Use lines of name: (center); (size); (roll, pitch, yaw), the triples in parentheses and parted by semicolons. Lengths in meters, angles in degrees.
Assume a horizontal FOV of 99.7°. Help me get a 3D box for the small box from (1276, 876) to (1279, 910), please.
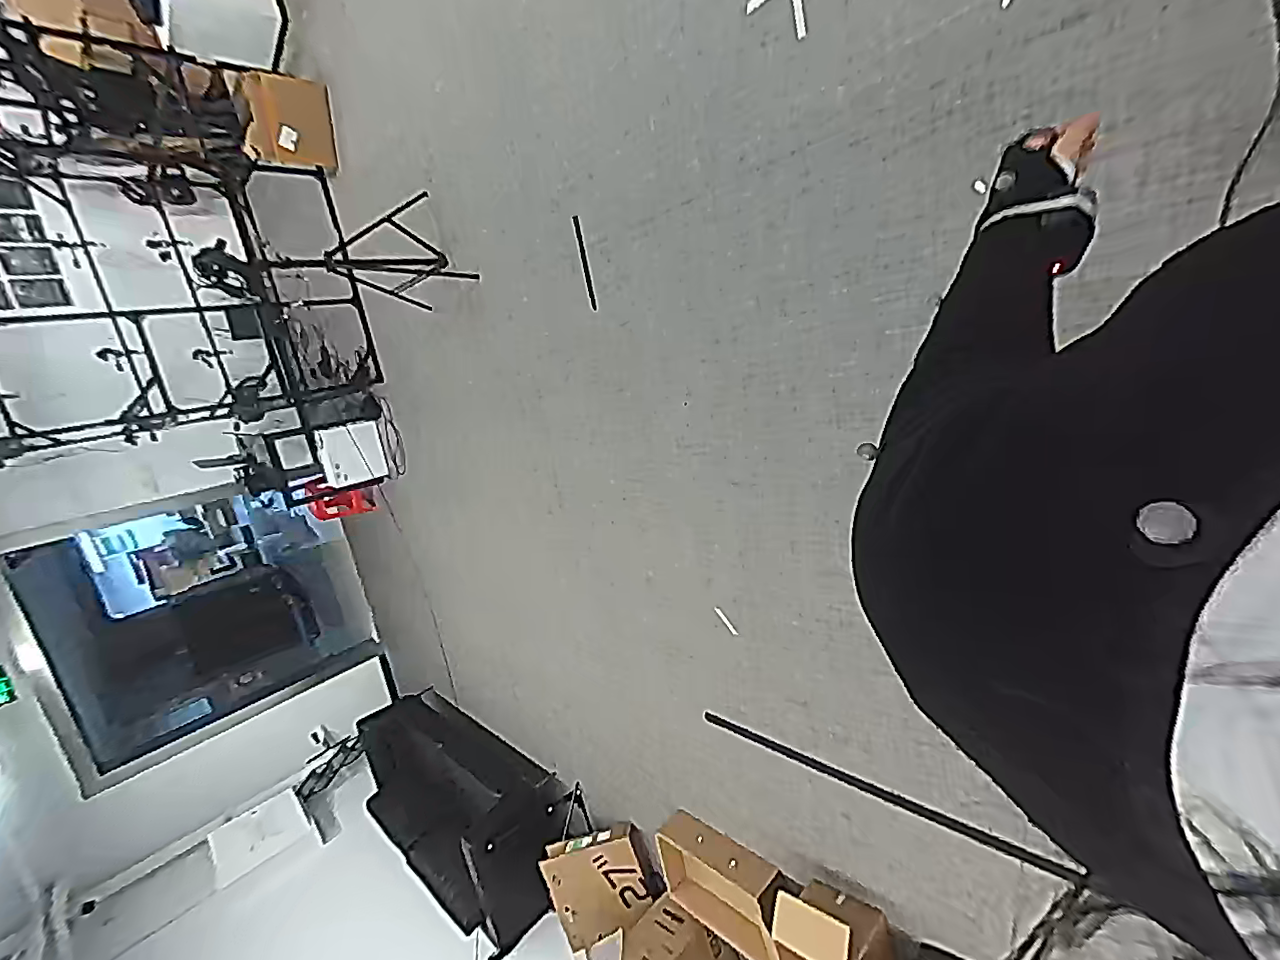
small box: (1.175, 0.799, 0.877); (0.168, 0.176, 0.179); (-9, 99, 48)
